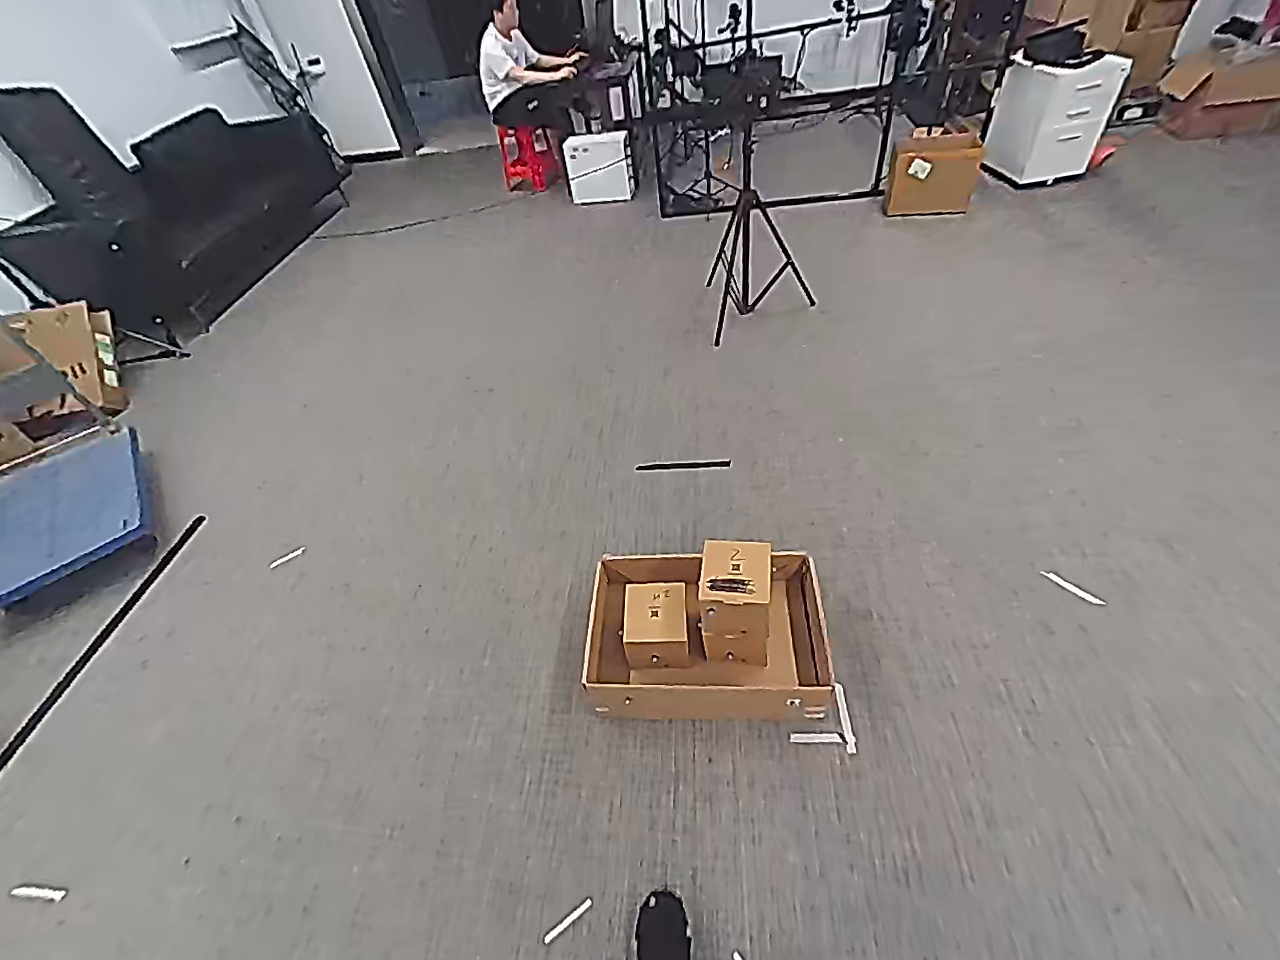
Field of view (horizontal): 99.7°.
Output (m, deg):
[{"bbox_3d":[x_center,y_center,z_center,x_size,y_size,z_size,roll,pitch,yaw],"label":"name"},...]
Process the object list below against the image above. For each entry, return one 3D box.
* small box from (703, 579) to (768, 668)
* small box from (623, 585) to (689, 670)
[{"bbox_3d":[0.264,0.390,1.475,0.168,0.176,0.179,0,48,12],"label":"small box"},{"bbox_3d":[0.048,0.410,1.488,0.168,0.176,0.179,-2,46,4],"label":"small box"}]
